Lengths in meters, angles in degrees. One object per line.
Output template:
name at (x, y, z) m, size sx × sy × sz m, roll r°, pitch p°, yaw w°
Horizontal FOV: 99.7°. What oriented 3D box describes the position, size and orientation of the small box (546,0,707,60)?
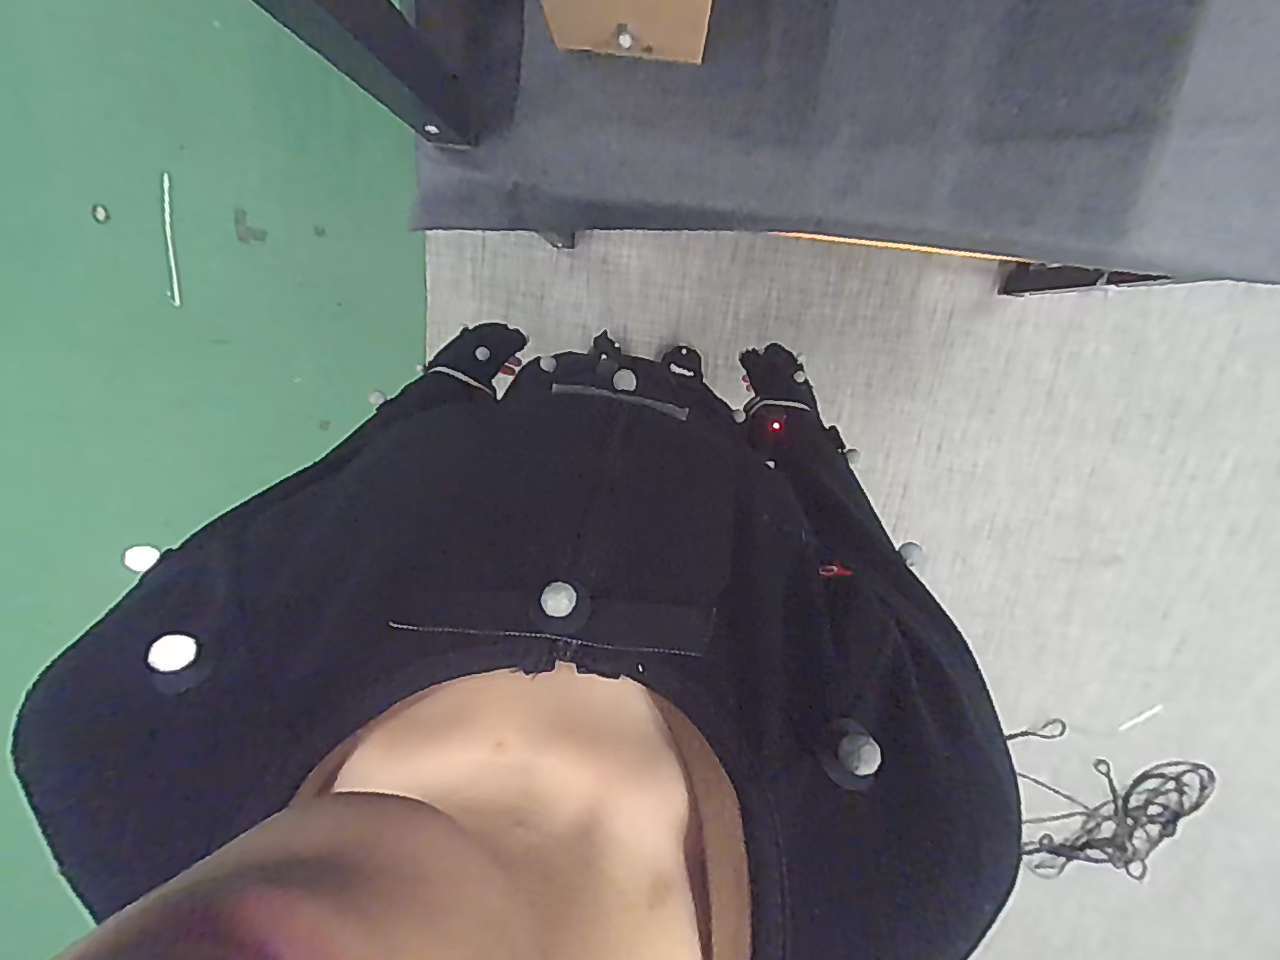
small box at (-0.009, -0.540, 0.502) m, size 0.168 × 0.176 × 0.179 m, roll 6°, pitch 105°, yaw 1°
